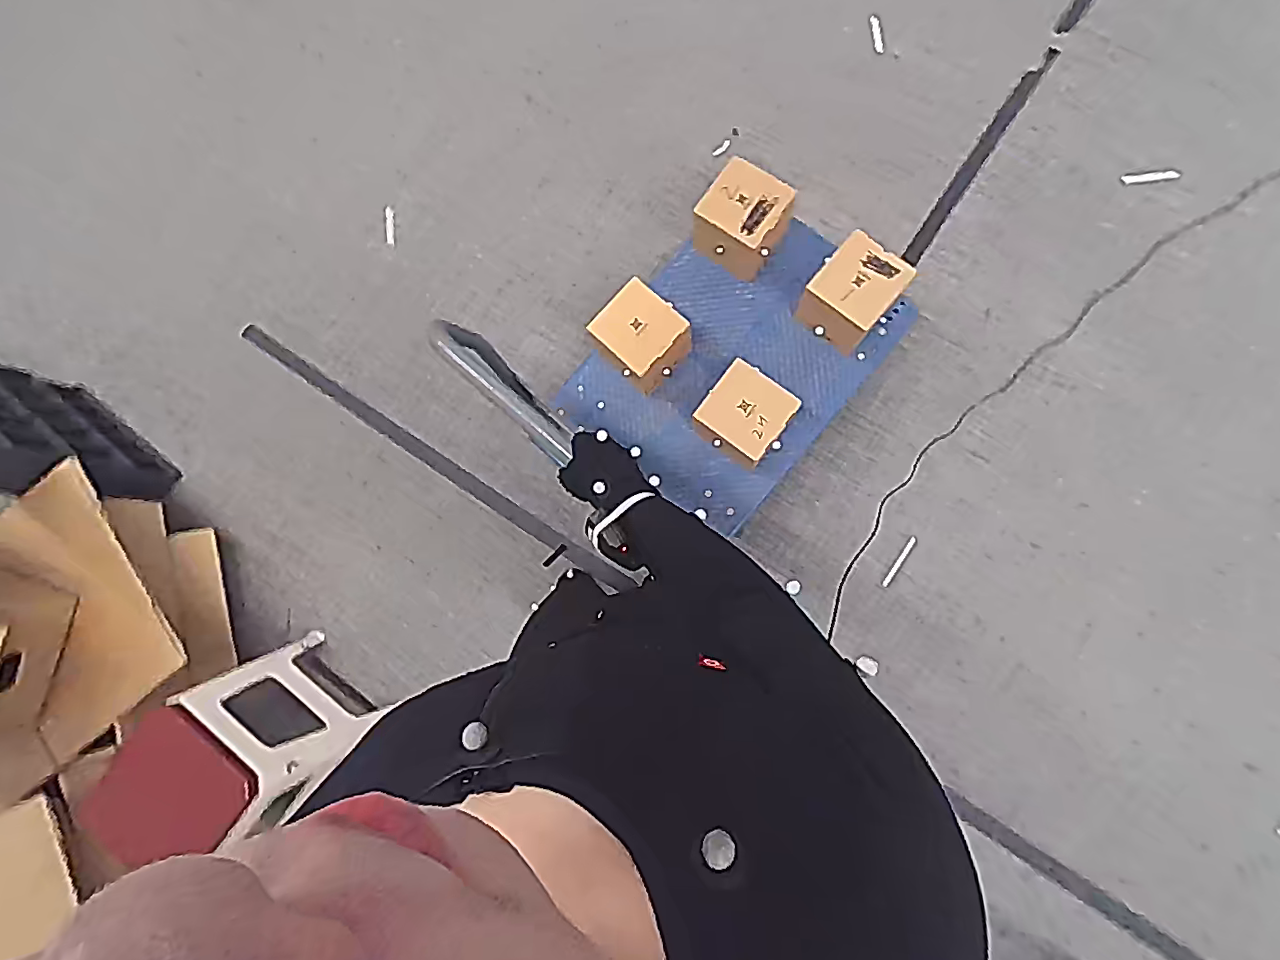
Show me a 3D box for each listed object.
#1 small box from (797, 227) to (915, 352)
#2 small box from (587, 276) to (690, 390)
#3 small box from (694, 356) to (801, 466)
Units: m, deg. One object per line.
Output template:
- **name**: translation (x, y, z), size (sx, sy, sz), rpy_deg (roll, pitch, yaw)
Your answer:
- **small box**: translation (0.487, -0.432, 1.252), size (0.168, 0.176, 0.179), rpy_deg (41, 90, 9)
- **small box**: translation (0.003, -0.343, 1.296), size (0.179, 0.176, 0.168), rpy_deg (42, 90, 9)
- **small box**: translation (0.239, -0.149, 1.247), size (0.179, 0.176, 0.168), rpy_deg (37, 88, 9)
